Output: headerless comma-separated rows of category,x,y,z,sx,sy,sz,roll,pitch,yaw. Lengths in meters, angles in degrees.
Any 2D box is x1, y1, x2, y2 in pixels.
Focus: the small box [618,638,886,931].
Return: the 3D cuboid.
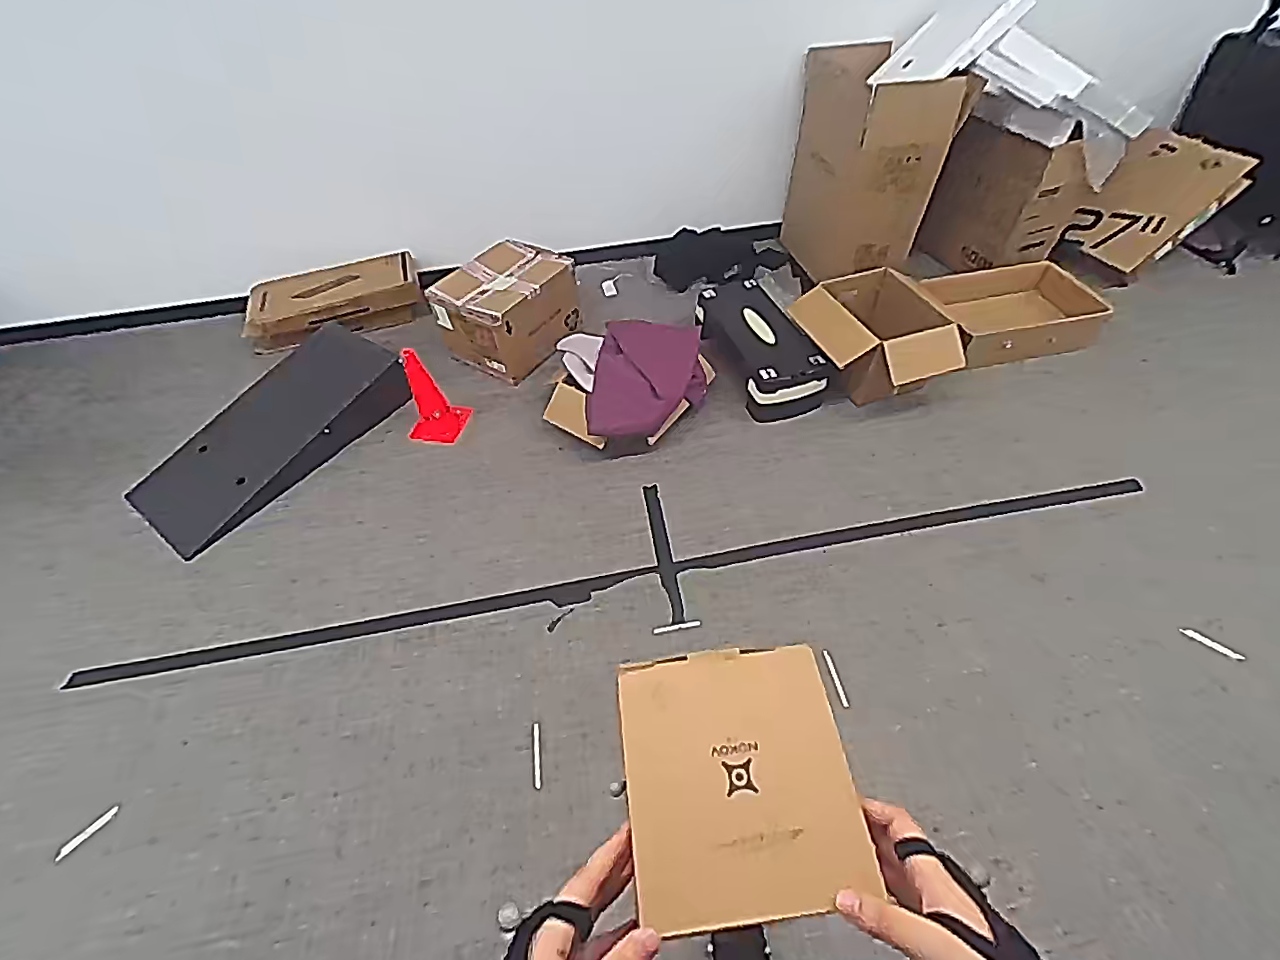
small box,0.069,0.253,0.458,0.168,0.176,0.179,-5,55,-5
